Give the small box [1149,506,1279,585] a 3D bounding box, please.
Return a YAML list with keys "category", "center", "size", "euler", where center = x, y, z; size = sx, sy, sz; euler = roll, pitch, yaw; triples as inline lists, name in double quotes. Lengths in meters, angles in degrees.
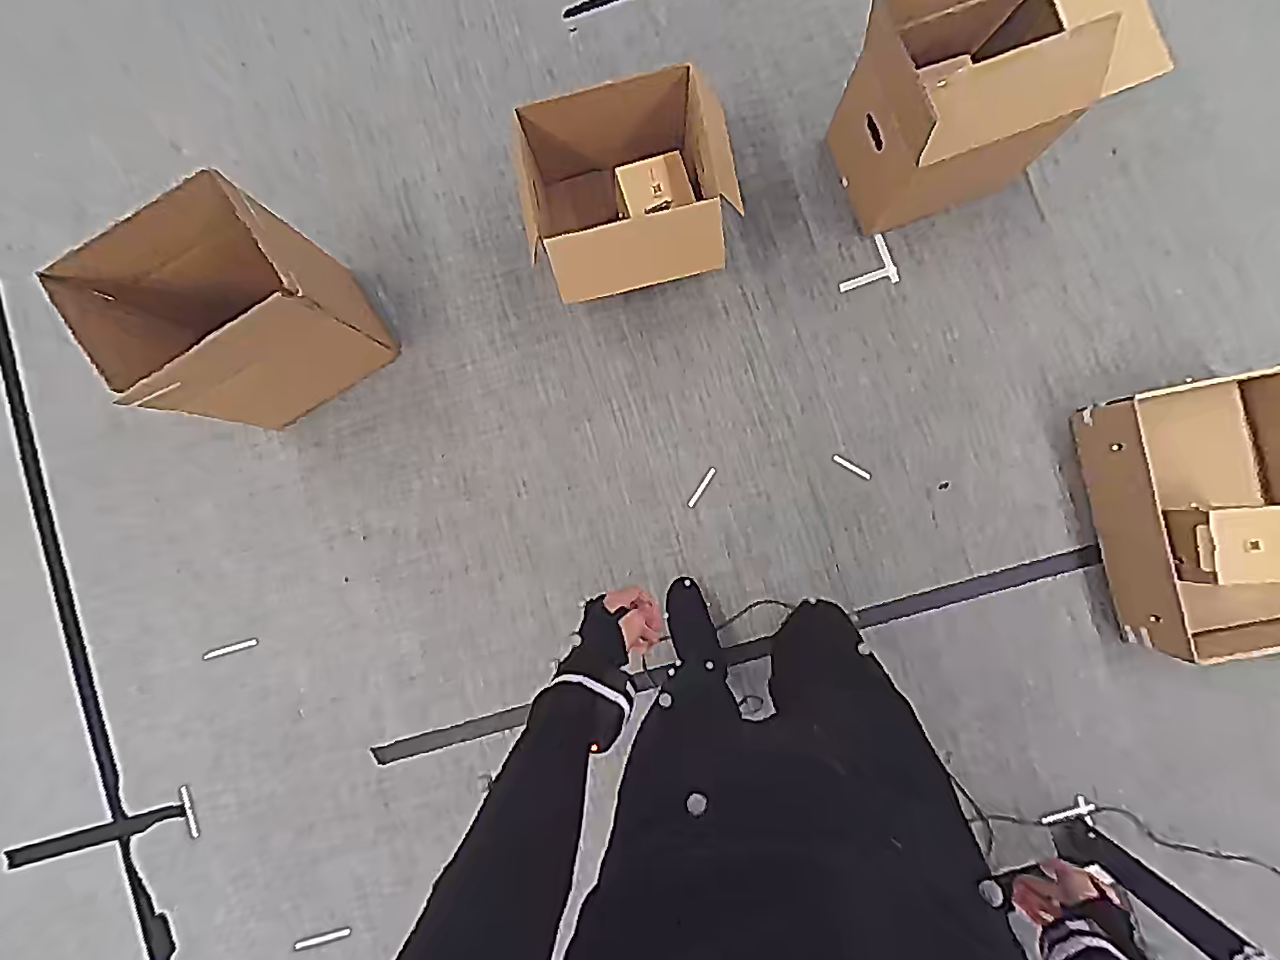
- category: "small box"
  center: [1.325, 0.148, 1.242]
  size: [0.179, 0.176, 0.168]
  euler: [-4, 87, 3]
